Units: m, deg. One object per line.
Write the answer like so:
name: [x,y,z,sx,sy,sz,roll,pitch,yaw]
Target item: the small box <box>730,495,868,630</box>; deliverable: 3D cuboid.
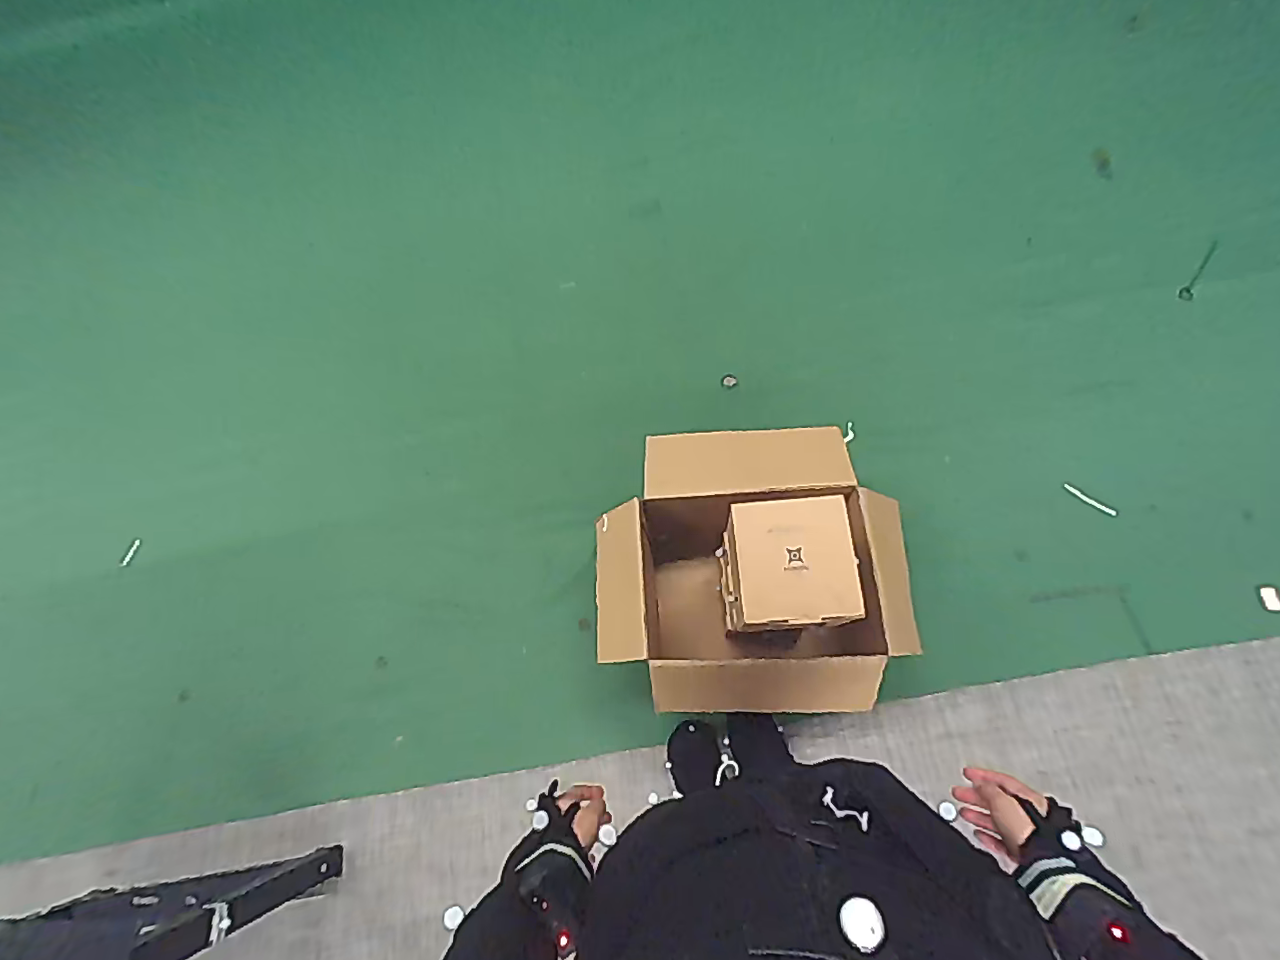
small box: [0.232,0.135,0.834,0.168,0.176,0.179,-6,70,4]
